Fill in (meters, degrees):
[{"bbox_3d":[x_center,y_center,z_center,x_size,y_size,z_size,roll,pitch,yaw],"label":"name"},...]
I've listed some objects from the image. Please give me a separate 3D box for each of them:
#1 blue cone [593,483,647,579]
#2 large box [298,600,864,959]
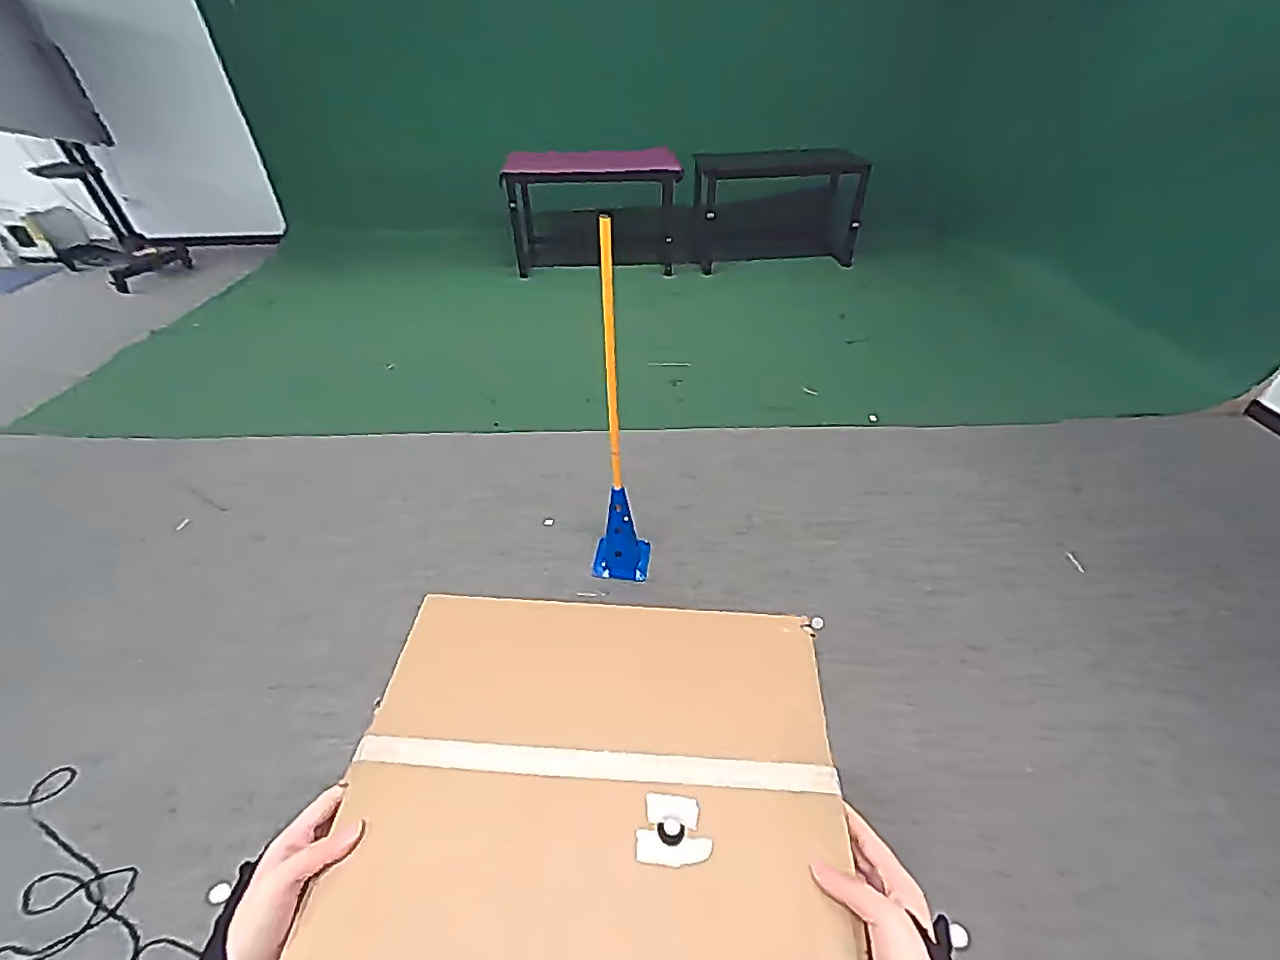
[{"bbox_3d":[-0.076,0.170,1.926,0.193,0.380,0.192,5,40,7],"label":"blue cone"},{"bbox_3d":[-0.038,0.351,0.573,0.408,0.320,0.320,3,45,2],"label":"large box"}]
